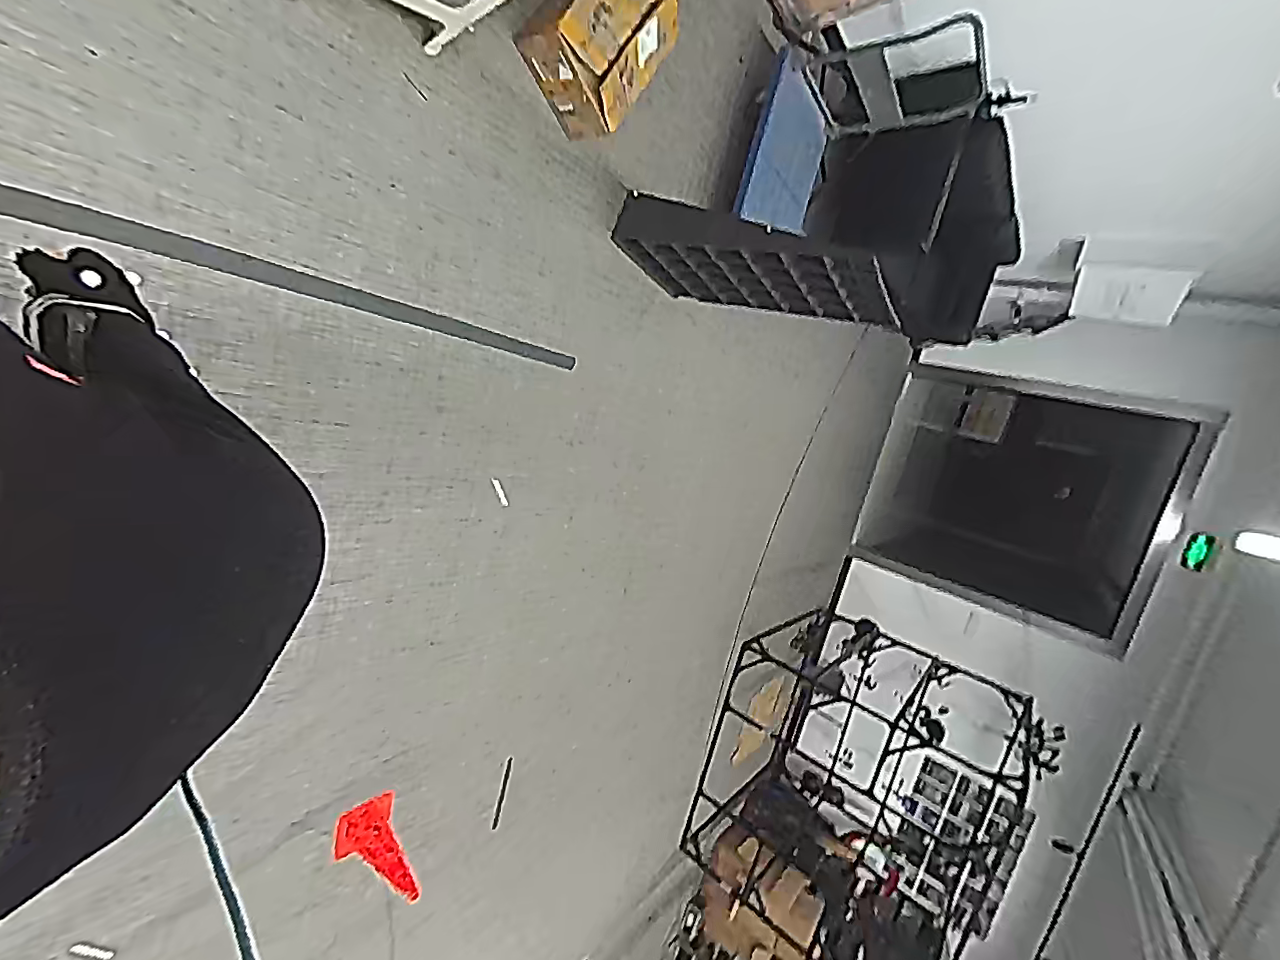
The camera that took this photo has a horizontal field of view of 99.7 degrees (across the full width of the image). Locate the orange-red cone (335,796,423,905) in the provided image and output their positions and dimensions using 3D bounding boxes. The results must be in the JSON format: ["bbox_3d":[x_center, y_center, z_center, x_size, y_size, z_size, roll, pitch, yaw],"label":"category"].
[{"bbox_3d":[-0.852,1.297,1.834,0.198,0.360,0.199,-4,109,-53],"label":"orange-red cone"}]
